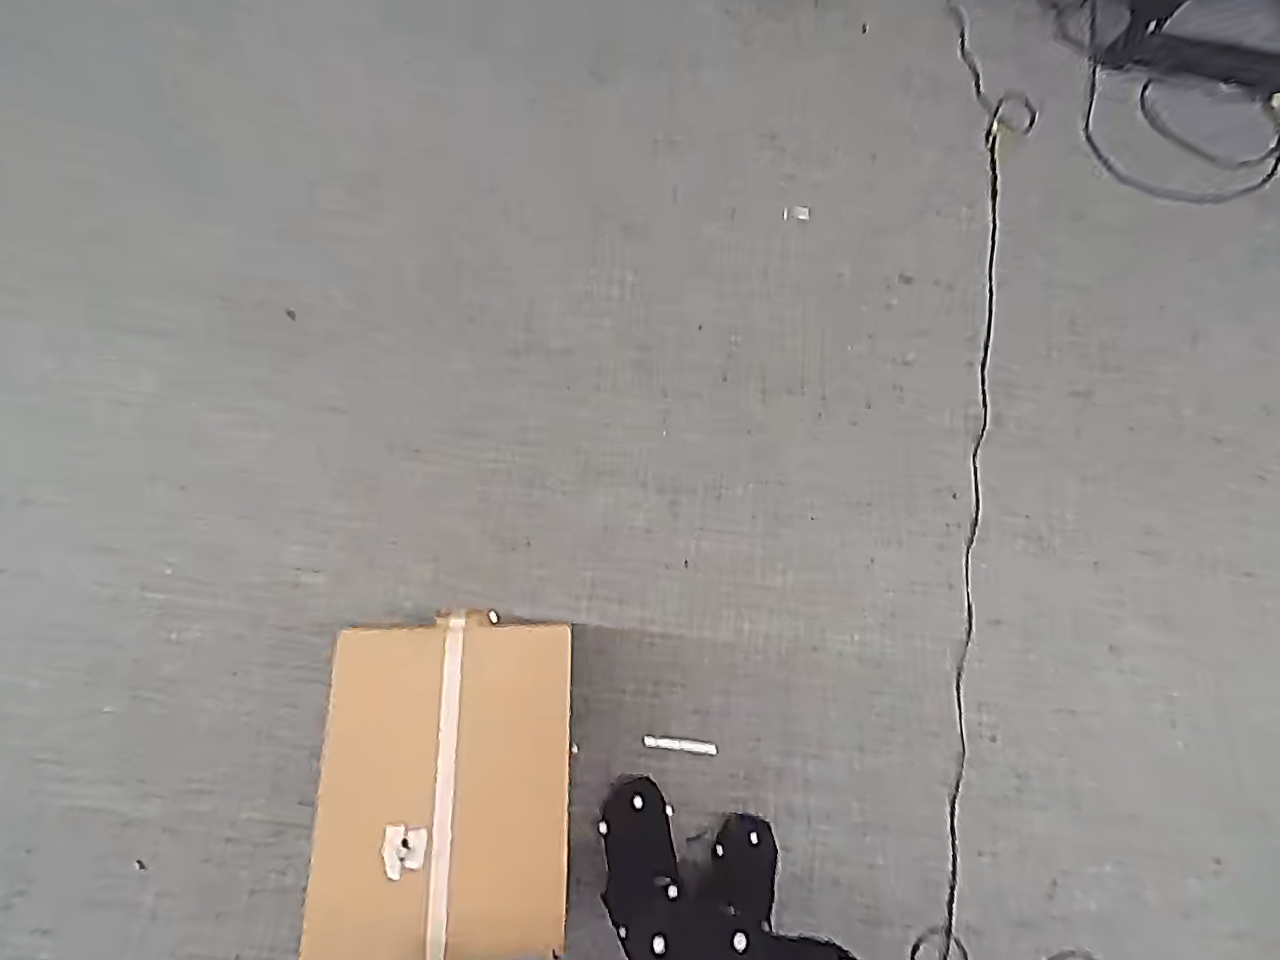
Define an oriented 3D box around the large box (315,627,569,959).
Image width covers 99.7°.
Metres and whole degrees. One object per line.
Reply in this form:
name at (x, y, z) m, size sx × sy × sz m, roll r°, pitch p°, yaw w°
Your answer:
large box at (-0.275, 0.453, 0.868) m, size 0.320 × 0.320 × 0.408 m, roll 0°, pitch 77°, yaw -7°
